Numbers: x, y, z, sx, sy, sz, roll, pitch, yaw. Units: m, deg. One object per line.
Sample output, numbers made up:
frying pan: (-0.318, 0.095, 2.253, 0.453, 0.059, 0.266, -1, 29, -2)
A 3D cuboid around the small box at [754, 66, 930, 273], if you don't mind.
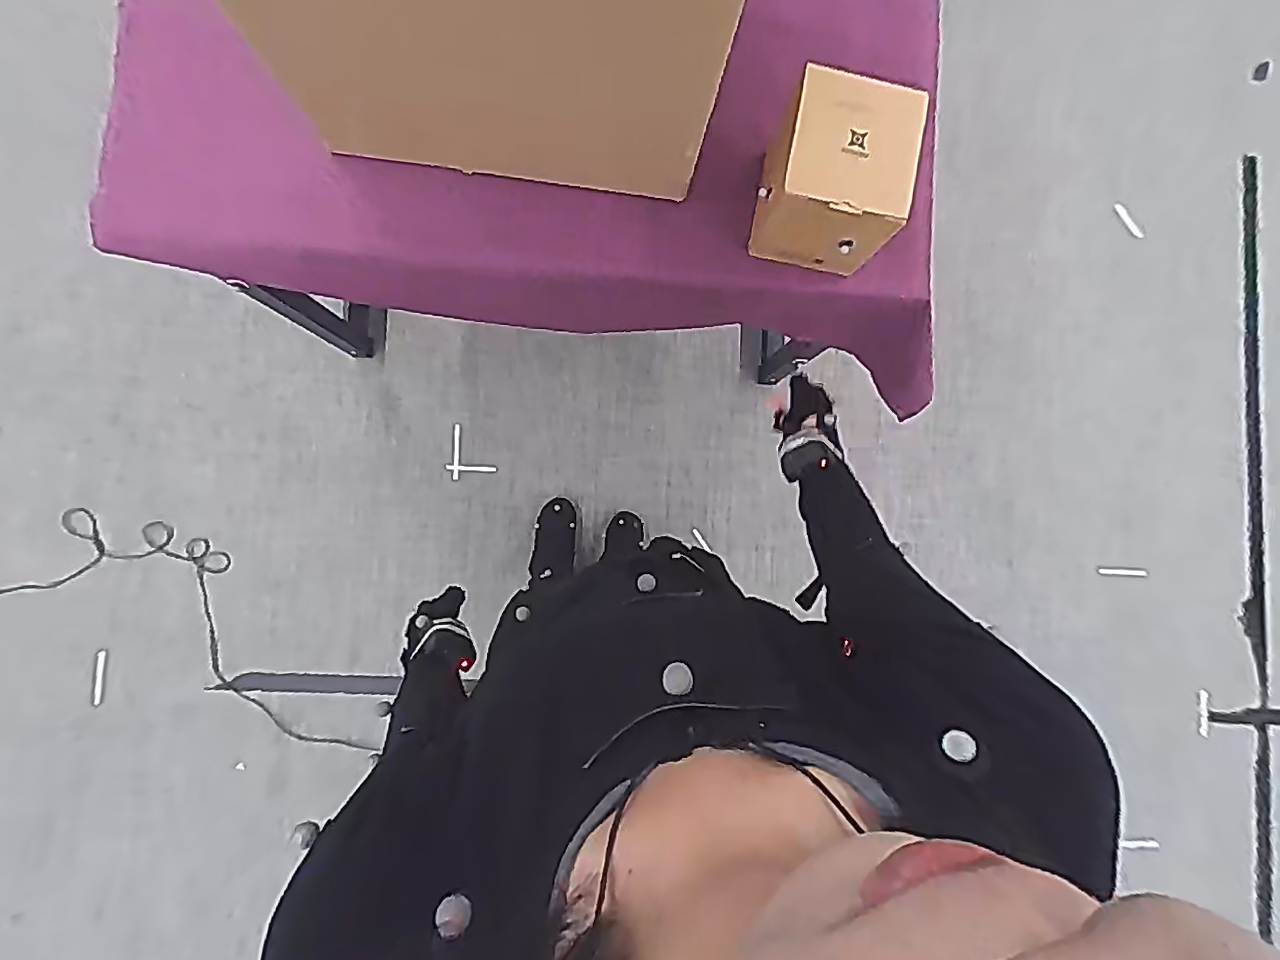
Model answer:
small box: (0.270, -0.418, 0.759, 0.168, 0.176, 0.179, 11, 85, -4)
